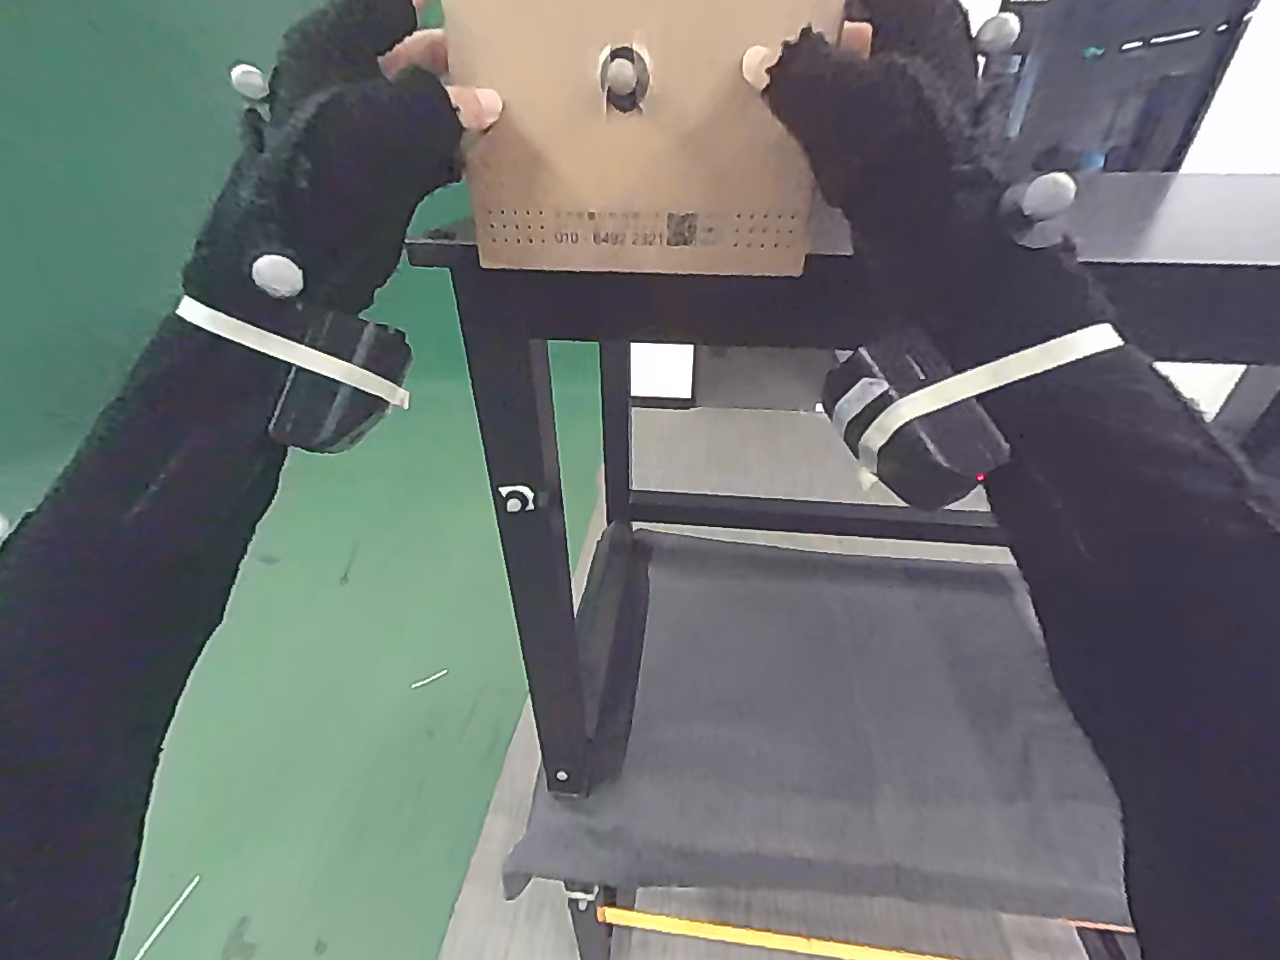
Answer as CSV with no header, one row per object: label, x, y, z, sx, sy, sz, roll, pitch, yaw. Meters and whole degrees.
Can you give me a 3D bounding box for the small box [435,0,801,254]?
small box,-0.003,-0.235,0.312,0.168,0.176,0.179,4,33,5
